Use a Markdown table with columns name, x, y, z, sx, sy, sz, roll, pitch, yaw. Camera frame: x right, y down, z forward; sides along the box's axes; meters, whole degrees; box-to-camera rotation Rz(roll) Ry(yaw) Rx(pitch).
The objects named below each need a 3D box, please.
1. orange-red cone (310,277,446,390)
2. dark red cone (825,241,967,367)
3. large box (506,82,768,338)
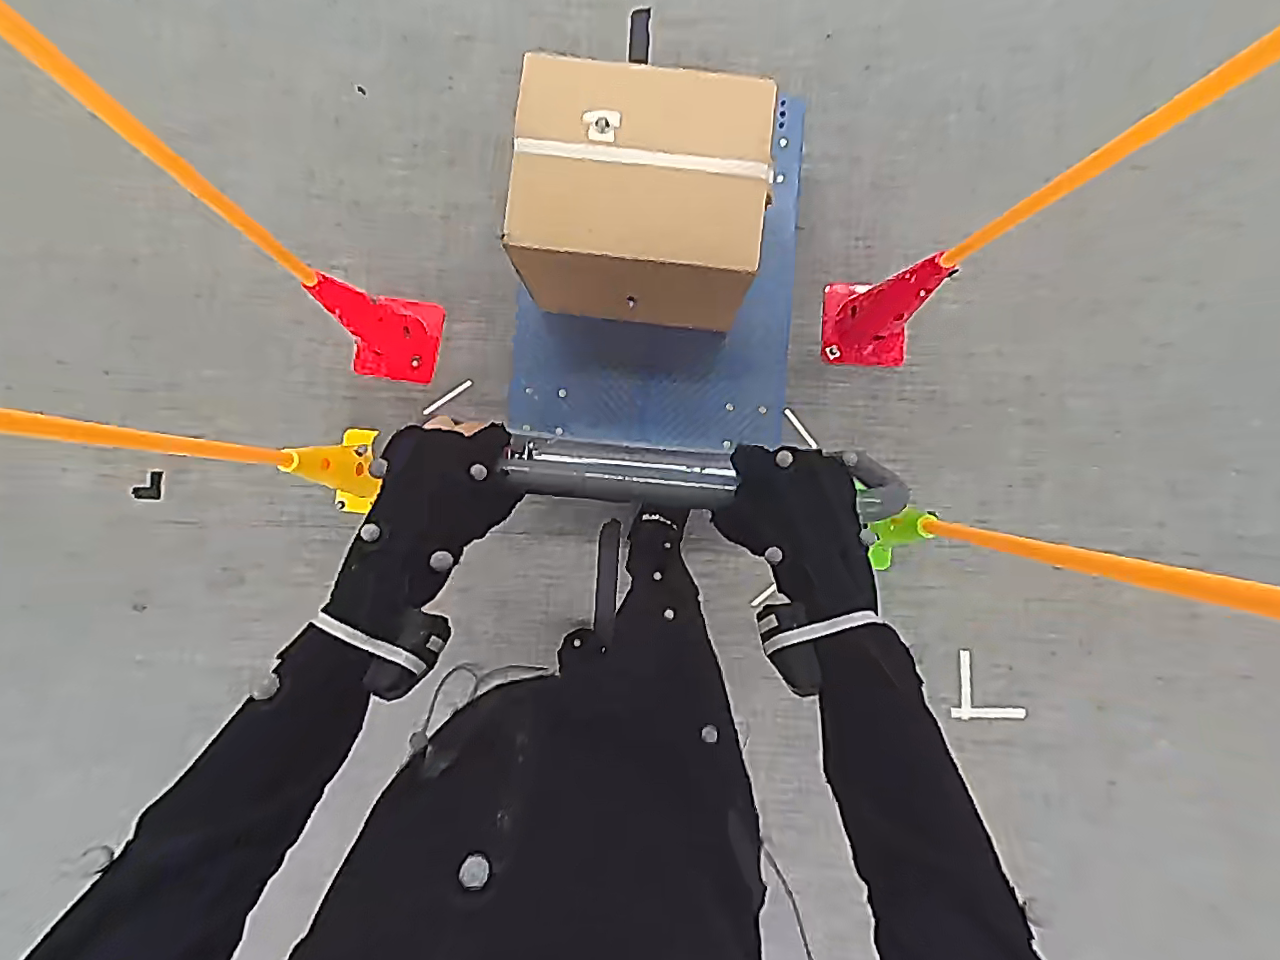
| name | x | y | z | sx | sy | sz | roll | pitch | yaw |
| --- | --- | --- | --- | --- | --- | --- | --- | --- | --- |
| orange-red cone | -0.587 | -0.343 | 1.160 | 0.198 | 0.360 | 0.199 | 10 | 85 | 0 |
| dark red cone | 0.546 | -0.382 | 1.131 | 0.201 | 0.394 | 0.202 | 3 | 87 | -1 |
| large box | 0.000 | -0.474 | 1.017 | 0.408 | 0.320 | 0.320 | 6 | 87 | 2 |
